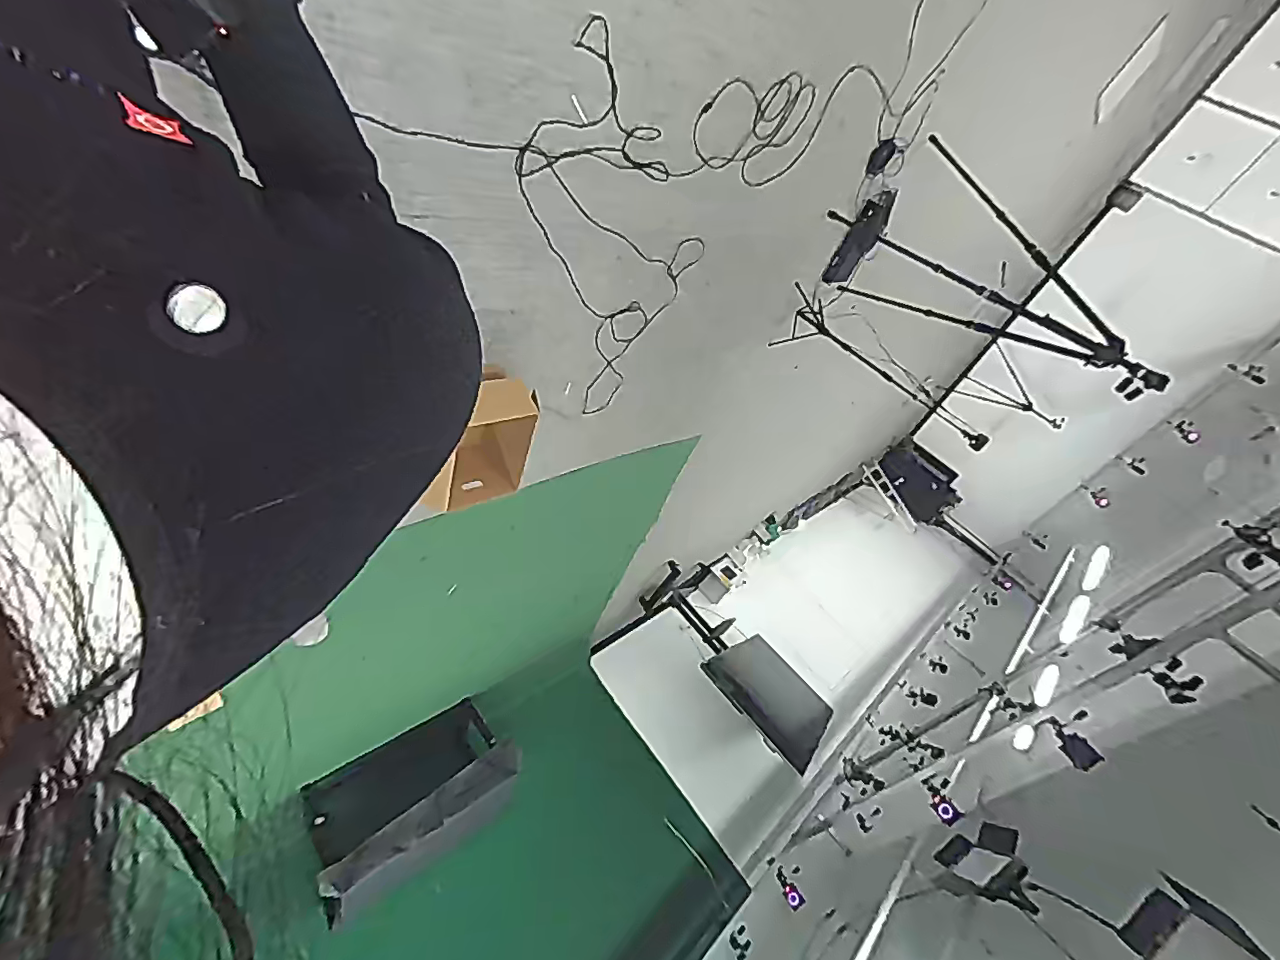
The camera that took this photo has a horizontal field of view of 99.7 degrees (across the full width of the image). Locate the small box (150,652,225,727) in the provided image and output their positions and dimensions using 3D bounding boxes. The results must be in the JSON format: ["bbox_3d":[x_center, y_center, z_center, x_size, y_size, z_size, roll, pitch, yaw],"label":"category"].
[{"bbox_3d":[-1.720,0.791,2.051,0.179,0.176,0.168,-24,150,-40],"label":"small box"}]
